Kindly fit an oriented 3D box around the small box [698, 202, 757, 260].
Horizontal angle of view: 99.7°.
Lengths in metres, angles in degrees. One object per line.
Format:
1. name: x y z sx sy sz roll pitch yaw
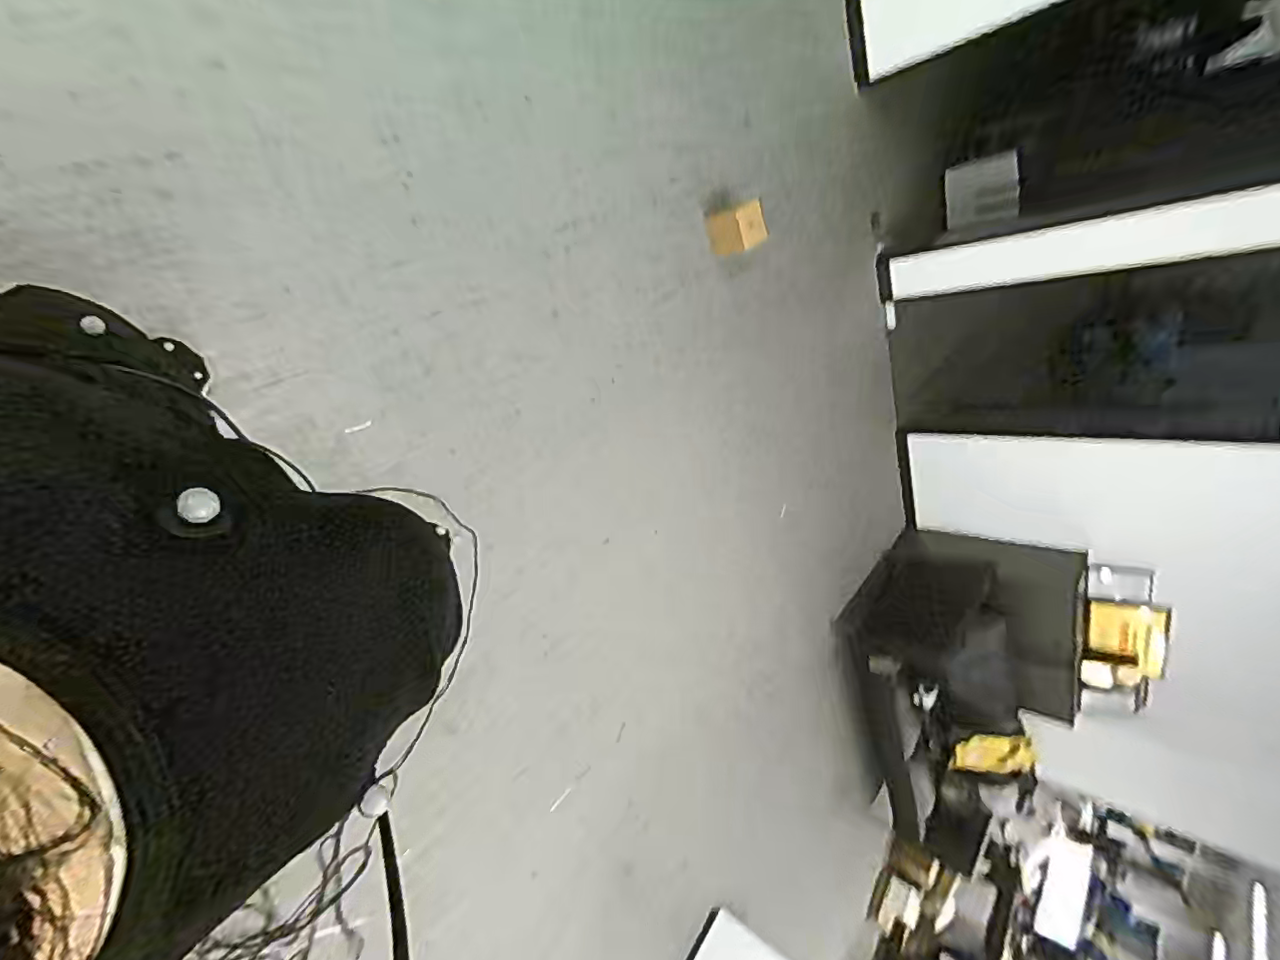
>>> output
1. small box: 0.363 -1.050 2.289 0.179 0.176 0.168 -42 124 -33
